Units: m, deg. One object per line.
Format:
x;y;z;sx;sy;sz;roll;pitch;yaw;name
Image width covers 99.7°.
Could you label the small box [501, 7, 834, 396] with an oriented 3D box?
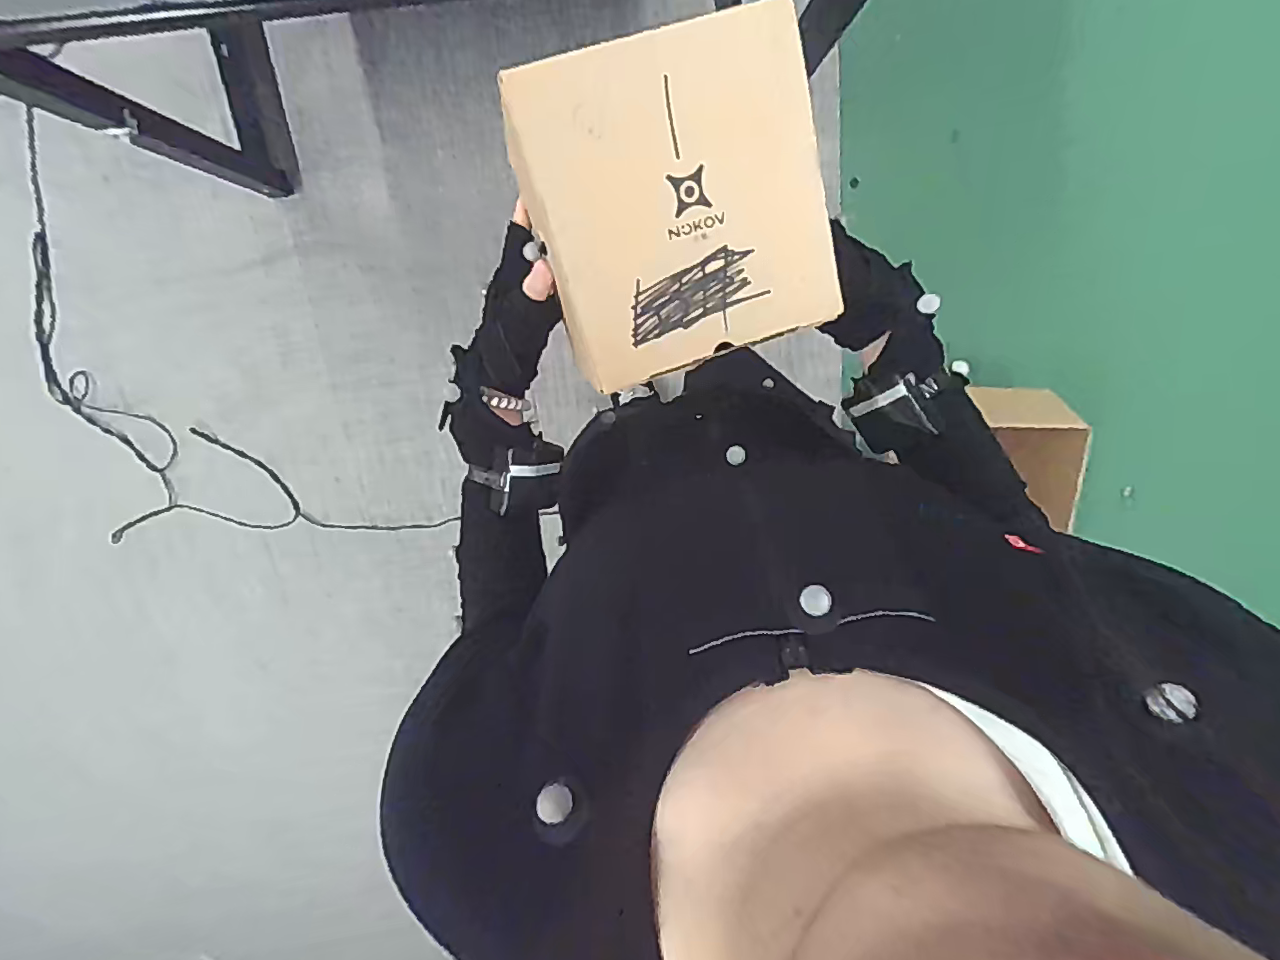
0.012;-0.178;0.388;0.168;0.176;0.179;-19;110;-6;small box
